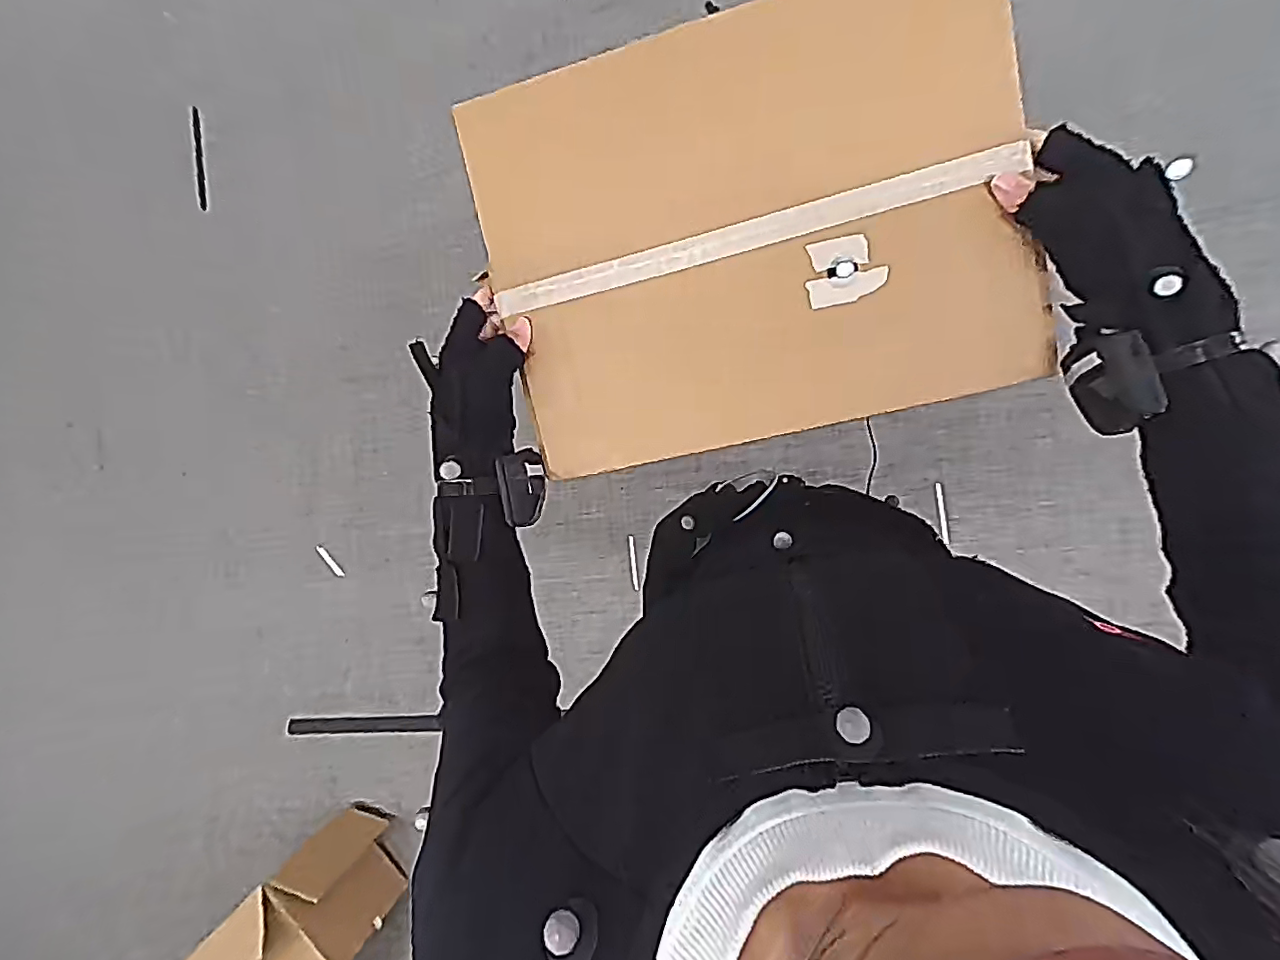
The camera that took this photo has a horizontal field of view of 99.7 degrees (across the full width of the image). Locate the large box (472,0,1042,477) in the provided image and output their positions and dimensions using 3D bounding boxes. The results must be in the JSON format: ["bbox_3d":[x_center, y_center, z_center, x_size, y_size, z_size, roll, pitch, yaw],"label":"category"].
[{"bbox_3d":[0.103,-0.213,0.576,0.408,0.320,0.320,-12,98,10],"label":"large box"}]
